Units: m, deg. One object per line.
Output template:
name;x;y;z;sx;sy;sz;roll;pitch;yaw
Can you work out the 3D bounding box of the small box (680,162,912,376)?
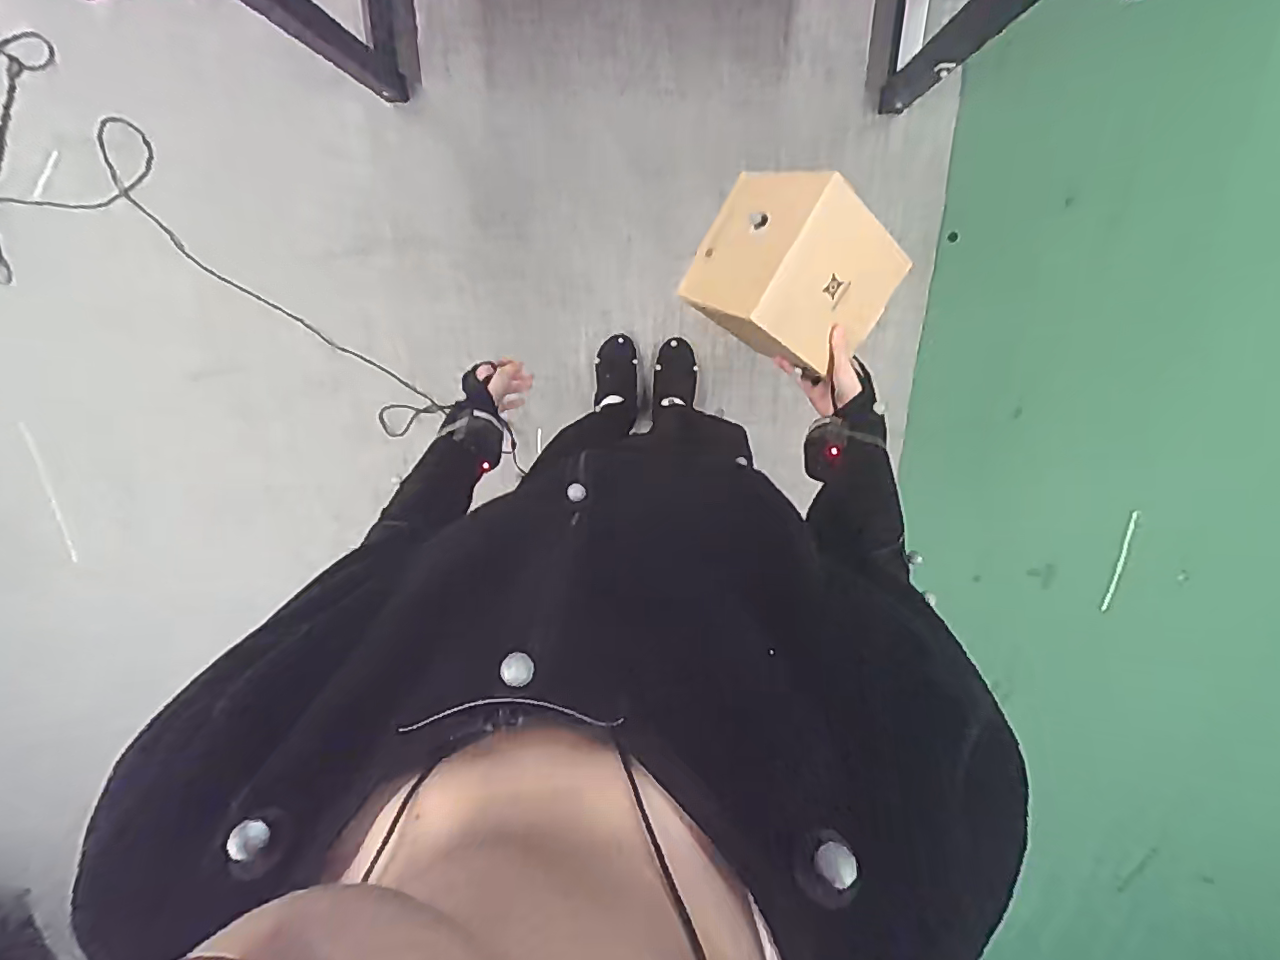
small box;0.180;-0.254;0.659;0.179;0.176;0.168;20;105;-38
